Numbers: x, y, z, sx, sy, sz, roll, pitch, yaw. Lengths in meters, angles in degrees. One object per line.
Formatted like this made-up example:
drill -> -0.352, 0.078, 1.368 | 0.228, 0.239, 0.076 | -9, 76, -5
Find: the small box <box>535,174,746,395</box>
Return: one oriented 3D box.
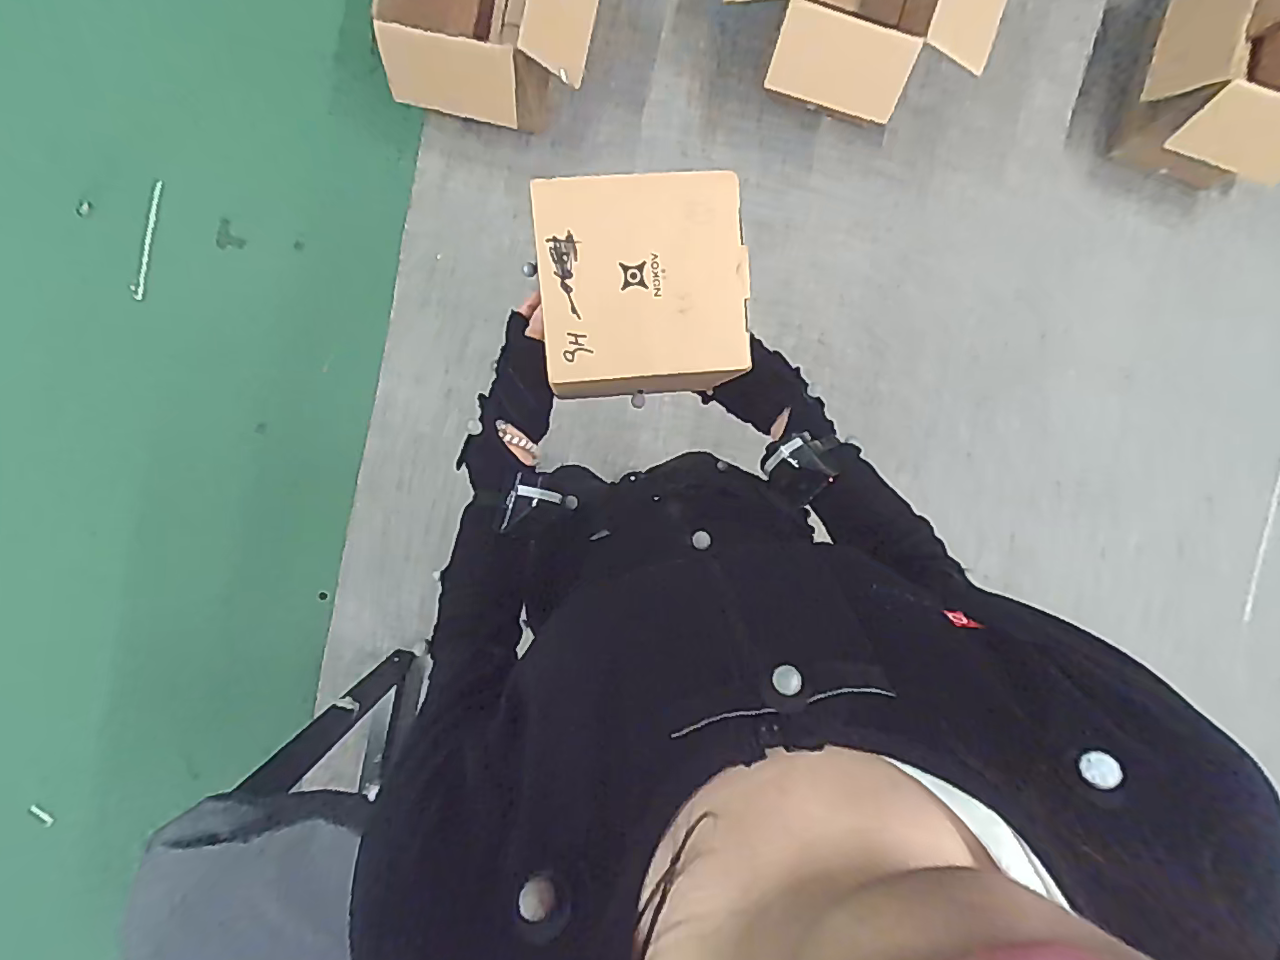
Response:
small box -> -0.007, -0.177, 0.534 | 0.179, 0.176, 0.168 | -4, 93, -6
